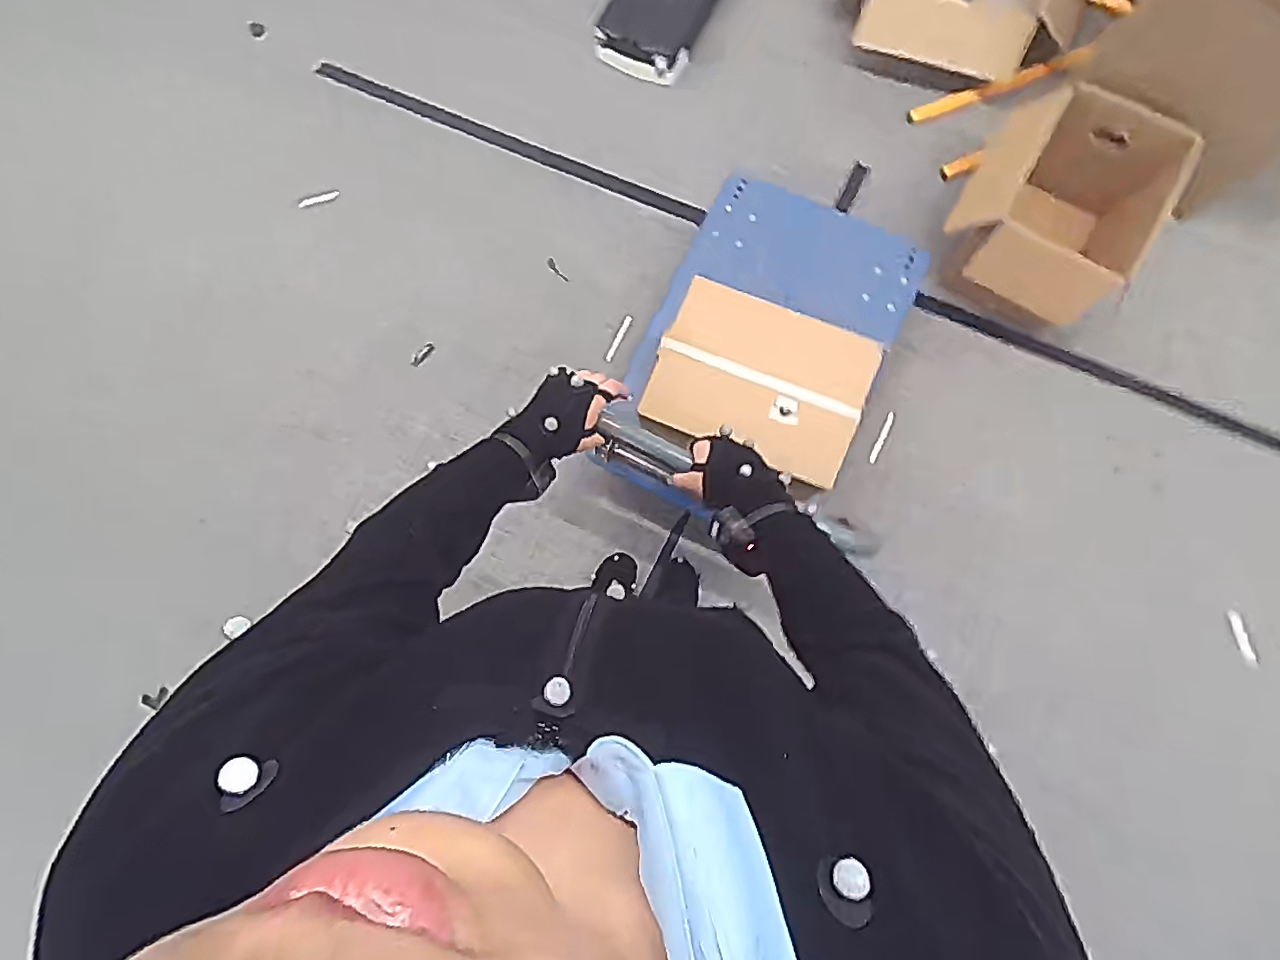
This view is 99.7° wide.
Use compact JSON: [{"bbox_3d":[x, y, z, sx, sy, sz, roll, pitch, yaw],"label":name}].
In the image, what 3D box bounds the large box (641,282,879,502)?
[{"bbox_3d":[0.242,-0.176,1.222,0.408,0.320,0.320,23,84,5],"label":"large box"}]
